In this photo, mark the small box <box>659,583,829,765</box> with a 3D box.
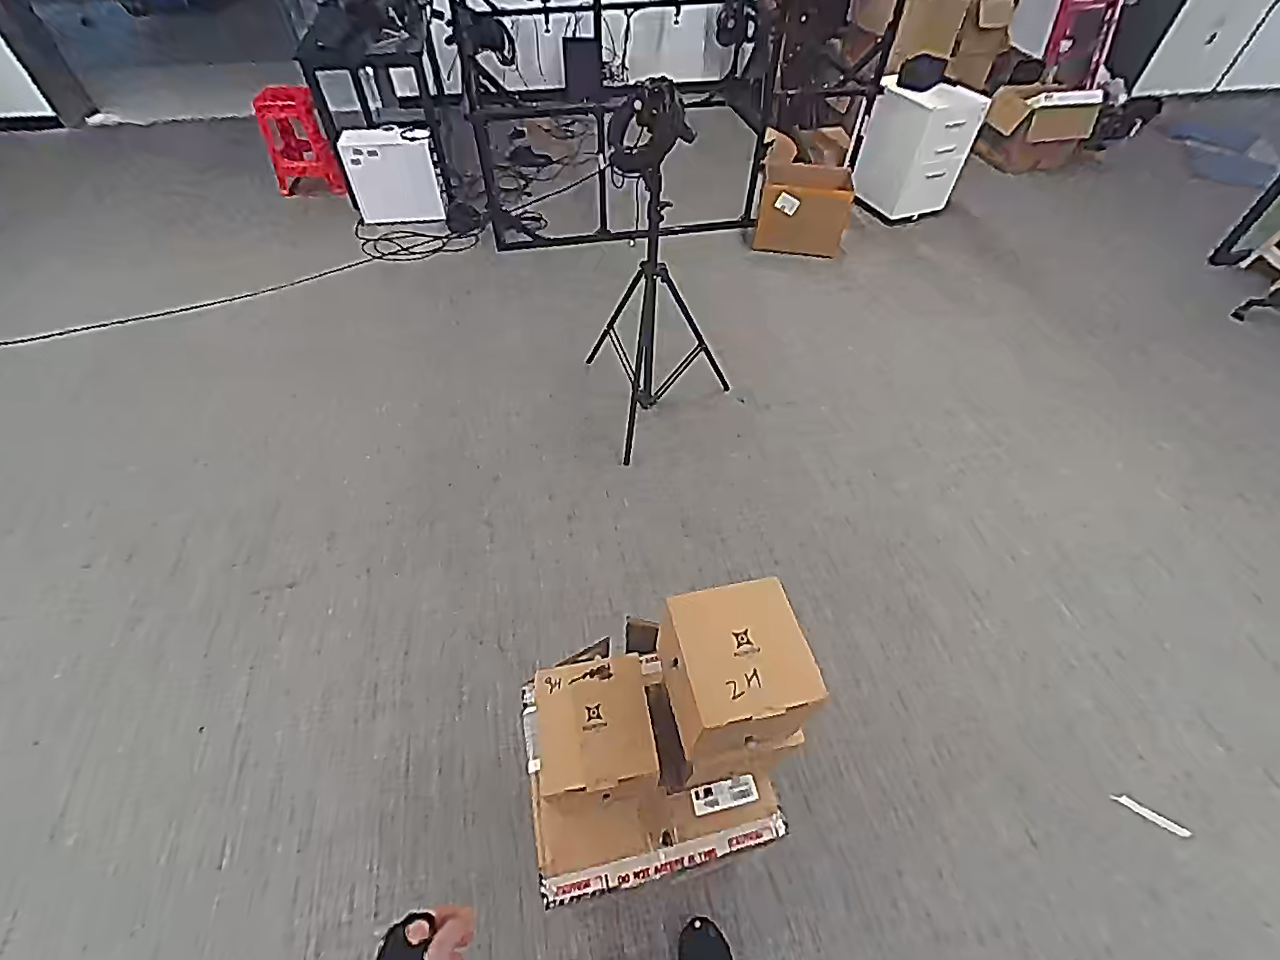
[{"bbox_3d":[0.128,0.271,0.755,0.168,0.176,0.179,-9,52,-11],"label":"small box"}]

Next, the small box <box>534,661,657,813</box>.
[{"bbox_3d":[-0.067,0.408,0.849,0.168,0.176,0.179,-8,53,-6],"label":"small box"}]

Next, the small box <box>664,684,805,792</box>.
[{"bbox_3d":[0.139,0.382,0.878,0.168,0.176,0.179,-7,53,-9],"label":"small box"}]
